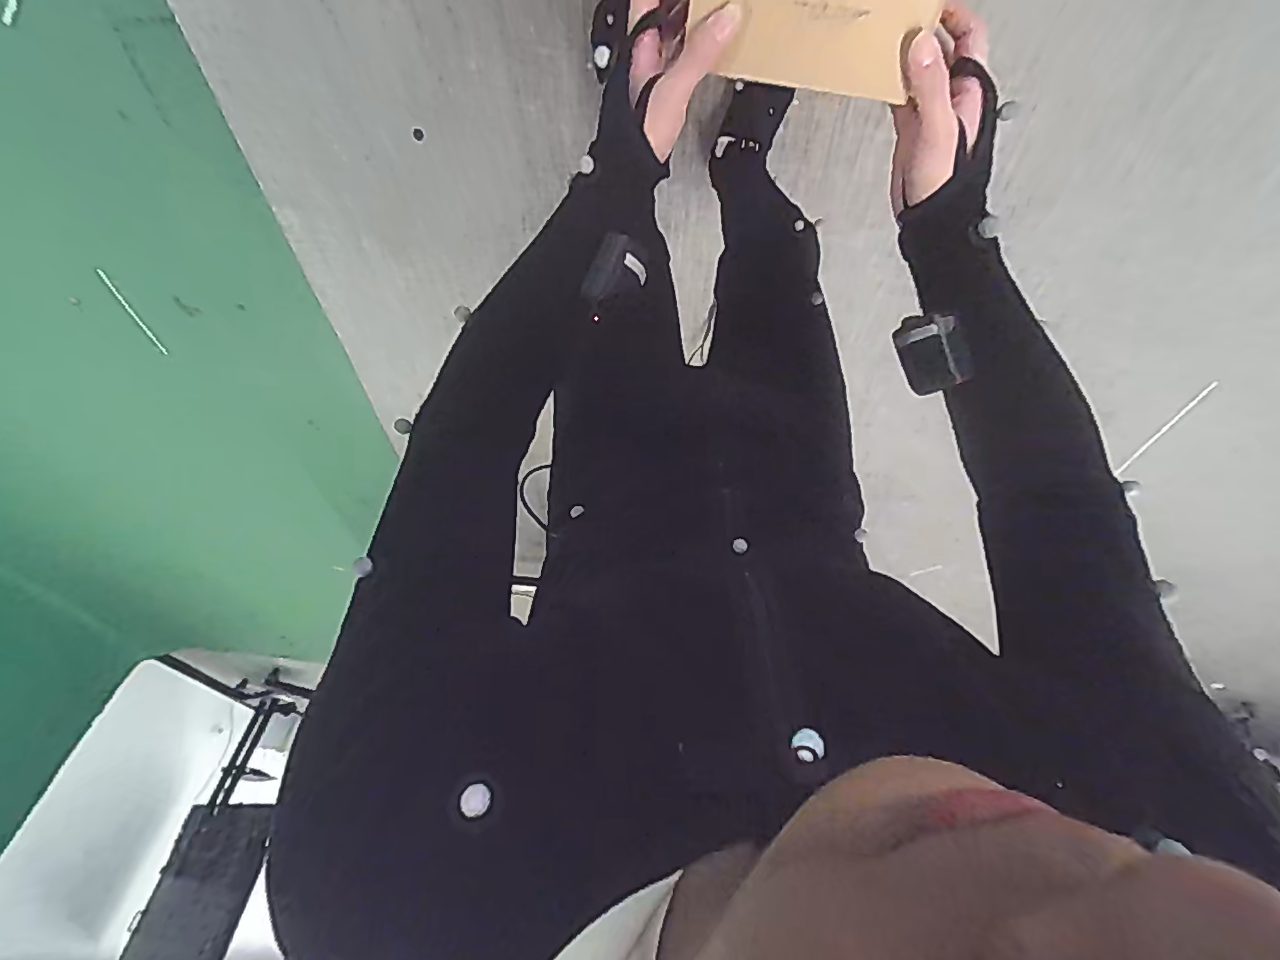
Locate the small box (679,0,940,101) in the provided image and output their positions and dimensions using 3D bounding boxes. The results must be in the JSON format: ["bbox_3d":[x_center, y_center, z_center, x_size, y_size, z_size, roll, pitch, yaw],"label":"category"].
[{"bbox_3d":[0.126,-0.399,0.379,0.168,0.176,0.179,10,136,0],"label":"small box"}]
